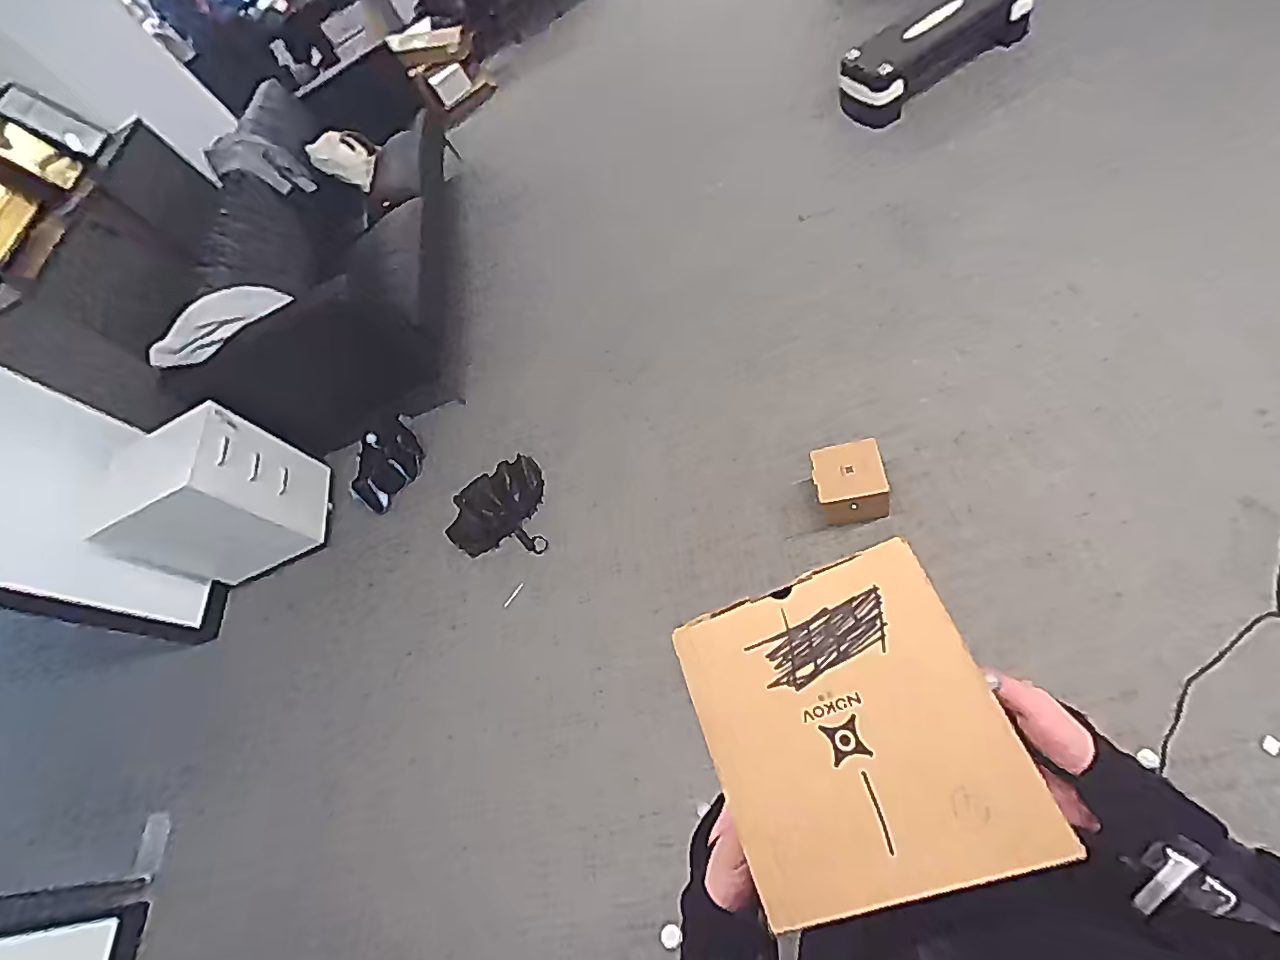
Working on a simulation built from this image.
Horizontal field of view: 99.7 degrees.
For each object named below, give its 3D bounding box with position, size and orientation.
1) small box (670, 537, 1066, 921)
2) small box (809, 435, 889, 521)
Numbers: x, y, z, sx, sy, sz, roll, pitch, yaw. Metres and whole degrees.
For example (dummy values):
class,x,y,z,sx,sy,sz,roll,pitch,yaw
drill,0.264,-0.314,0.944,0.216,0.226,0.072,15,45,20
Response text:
class,x,y,z,sx,sy,sz,roll,pitch,yaw
small box,0.145,0.166,0.388,0.168,0.176,0.179,-27,64,15
small box,0.584,0.002,1.507,0.179,0.176,0.168,-12,61,18
